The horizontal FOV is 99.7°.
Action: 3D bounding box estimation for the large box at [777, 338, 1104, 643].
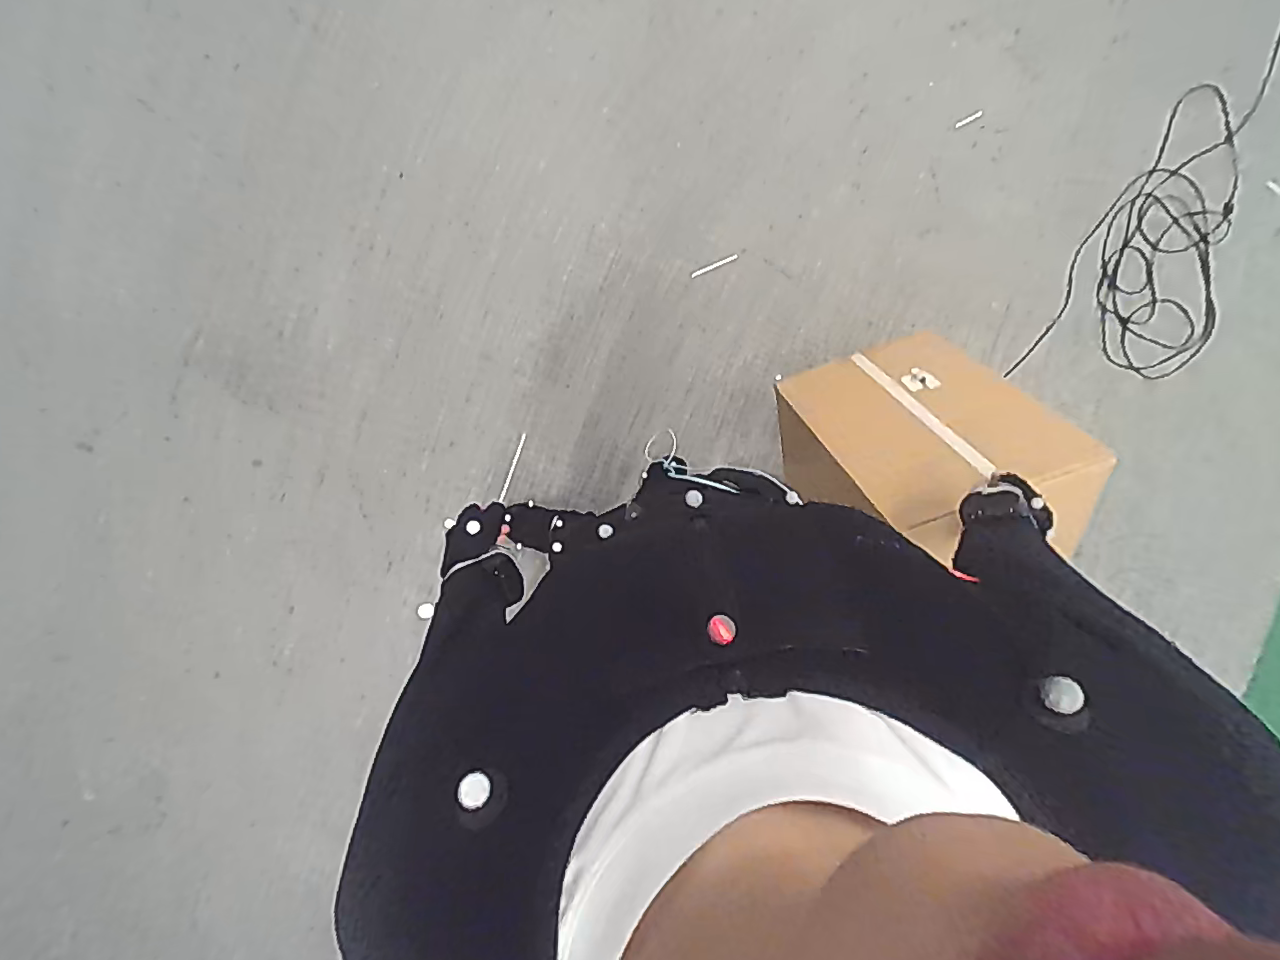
[{"bbox_3d":[0.483,0.008,0.976,0.320,0.408,0.320,-18,131,-1],"label":"large box"}]
